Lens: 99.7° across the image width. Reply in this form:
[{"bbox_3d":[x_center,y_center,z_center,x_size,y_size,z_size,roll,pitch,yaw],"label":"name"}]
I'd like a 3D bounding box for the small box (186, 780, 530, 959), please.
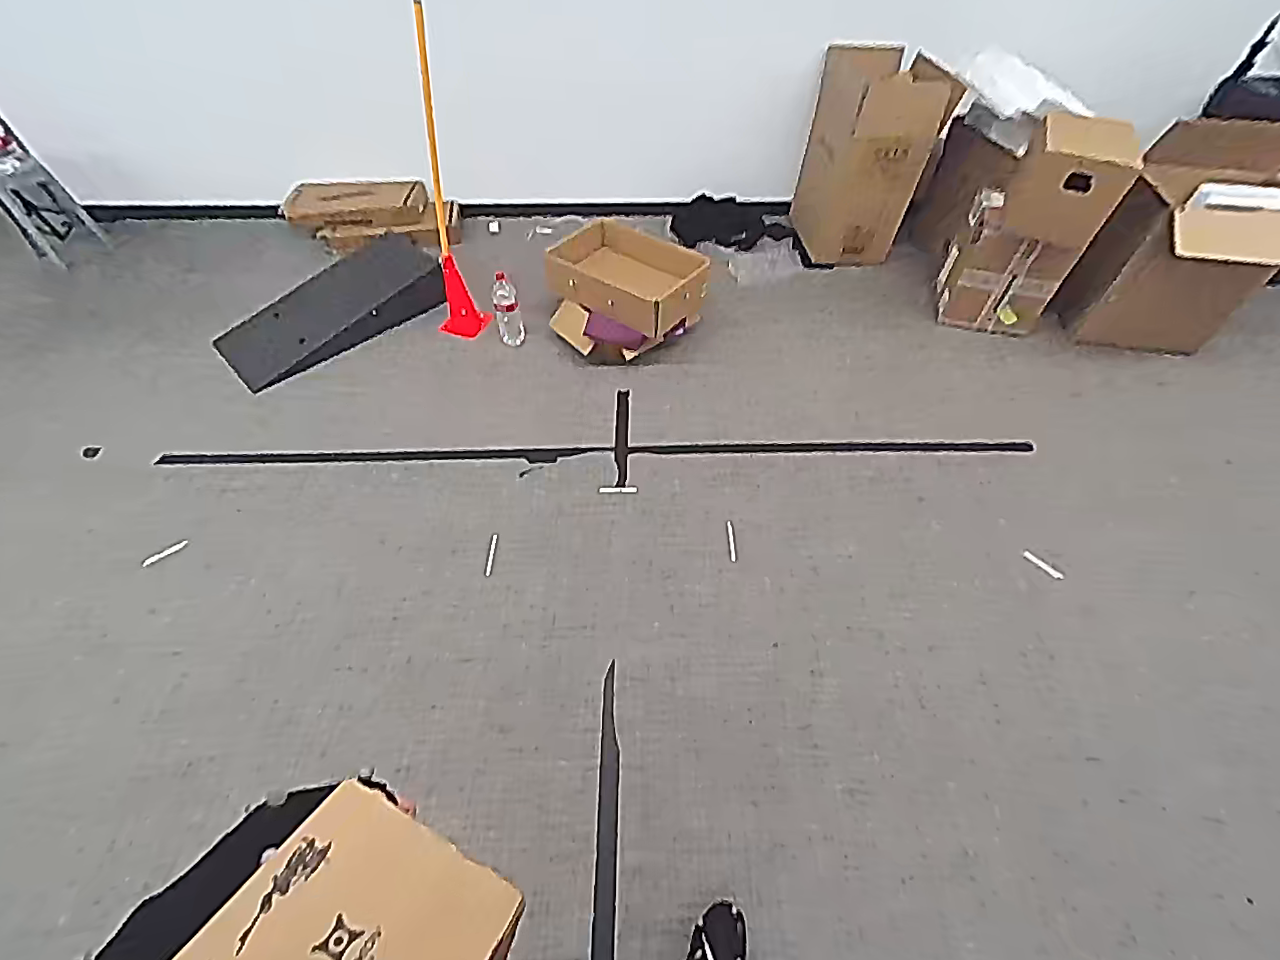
[{"bbox_3d":[-0.210,0.380,0.408,0.179,0.176,0.168,25,33,12],"label":"small box"}]
